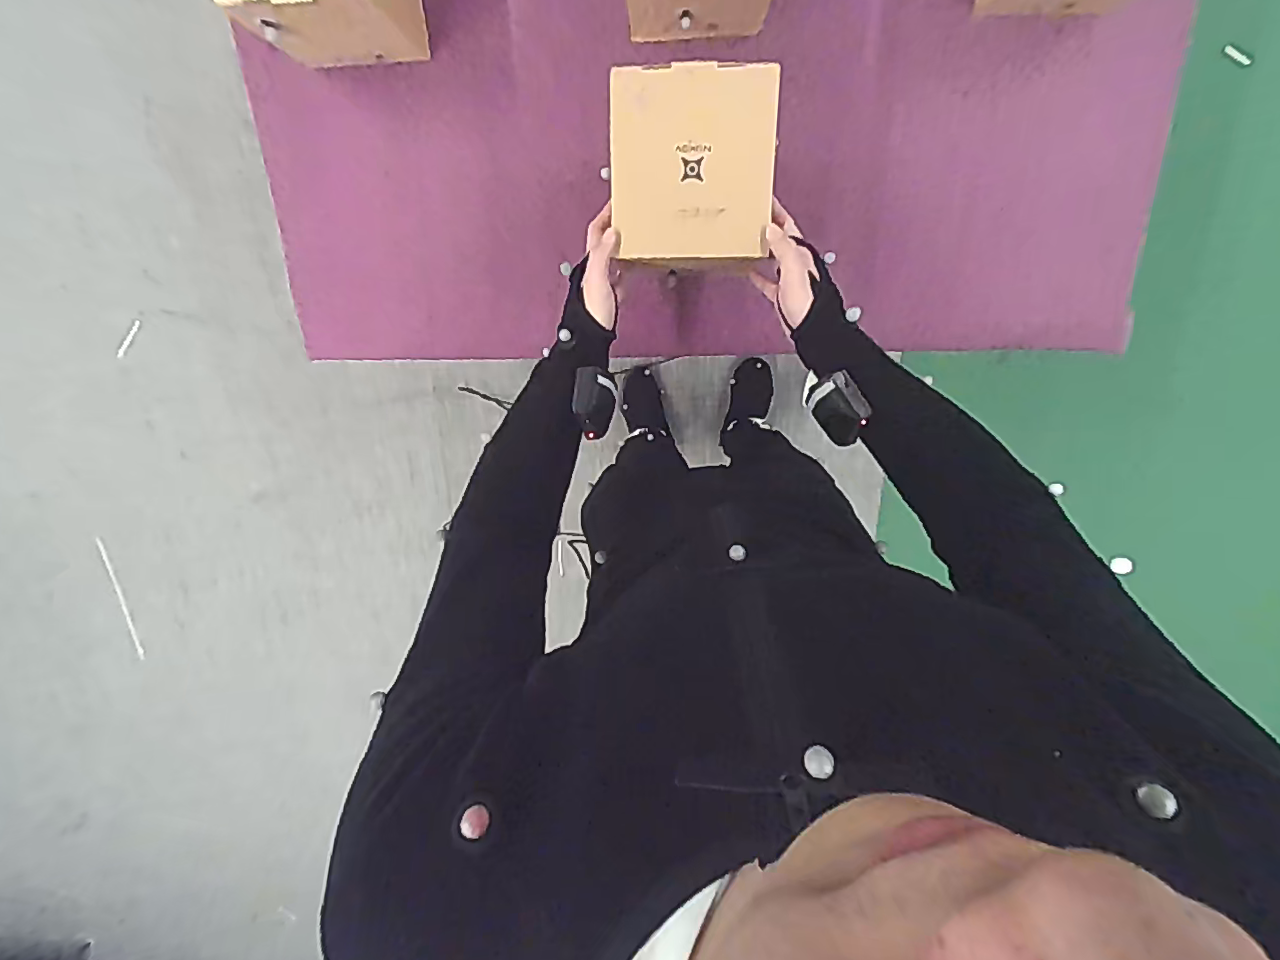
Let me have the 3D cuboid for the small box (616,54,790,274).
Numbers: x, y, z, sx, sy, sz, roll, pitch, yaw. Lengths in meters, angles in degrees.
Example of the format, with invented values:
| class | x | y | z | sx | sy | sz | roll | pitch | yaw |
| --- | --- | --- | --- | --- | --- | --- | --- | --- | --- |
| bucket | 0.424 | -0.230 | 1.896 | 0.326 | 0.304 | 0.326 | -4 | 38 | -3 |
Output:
| class | x | y | z | sx | sy | sz | roll | pitch | yaw |
| --- | --- | --- | --- | --- | --- | --- | --- | --- | --- |
| small box | 0.061 | -0.336 | 0.606 | 0.168 | 0.176 | 0.179 | 1 | 105 | 3 |

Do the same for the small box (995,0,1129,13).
| class | x | y | z | sx | sy | sz | roll | pitch | yaw |
| --- | --- | --- | --- | --- | --- | --- | --- | --- | --- |
| small box | 0.500 | -0.629 | 0.555 | 0.168 | 0.176 | 0.179 | 2 | 110 | 2 |

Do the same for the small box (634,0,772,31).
| class | x | y | z | sx | sy | sz | roll | pitch | yaw |
| --- | --- | --- | --- | --- | --- | --- | --- | --- | --- |
| small box | 0.071 | -0.623 | 0.574 | 0.168 | 0.176 | 0.179 | -2 | 110 | 2 |
